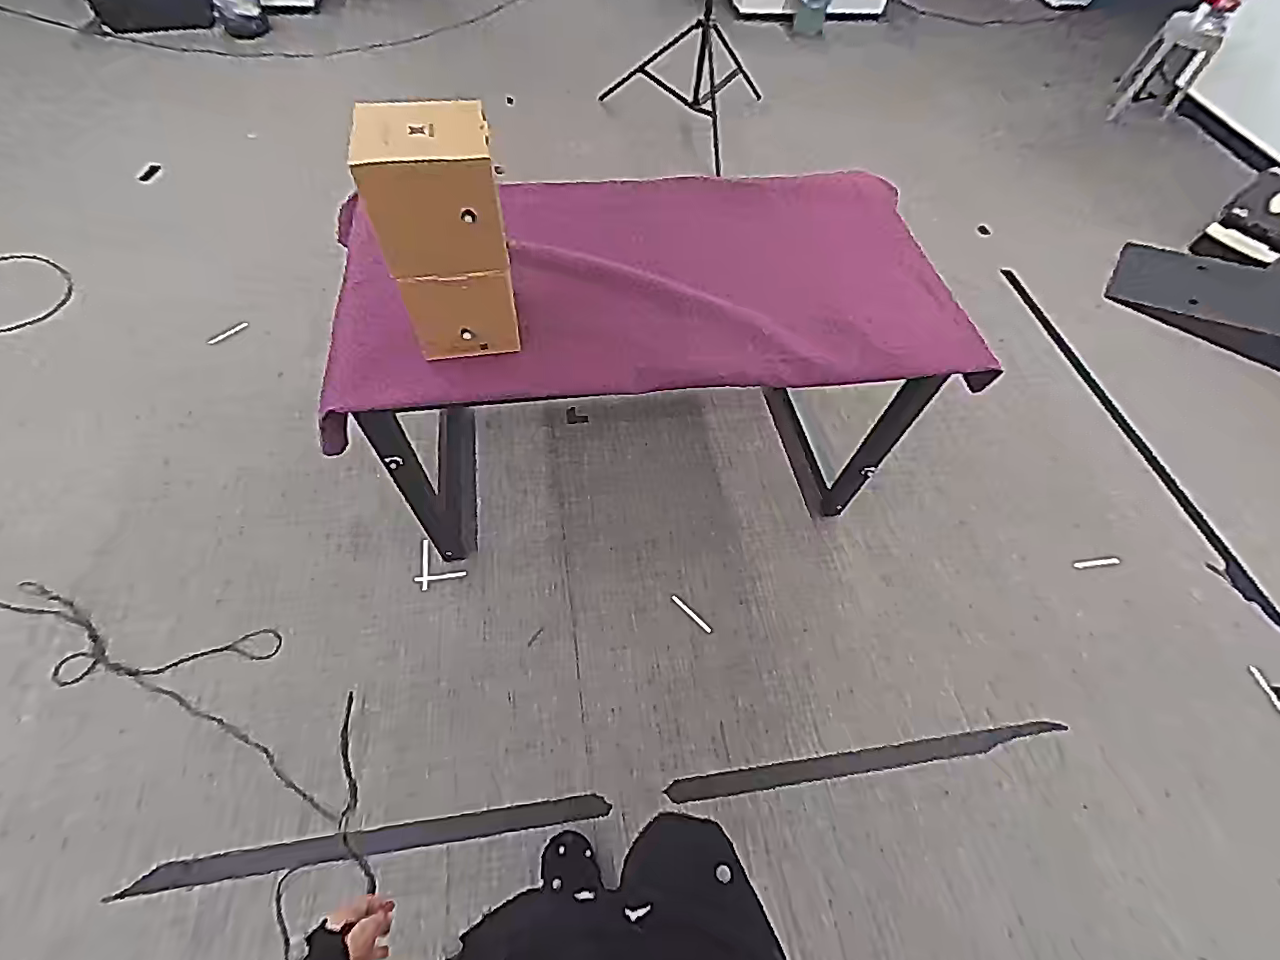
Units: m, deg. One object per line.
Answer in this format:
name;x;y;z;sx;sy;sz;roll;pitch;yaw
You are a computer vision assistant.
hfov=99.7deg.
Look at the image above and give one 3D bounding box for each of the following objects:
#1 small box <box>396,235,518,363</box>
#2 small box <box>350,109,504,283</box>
small box;-0.310;-0.328;0.936;0.168;0.176;0.179;-8;59;-9
small box;-0.301;-0.415;0.799;0.179;0.176;0.168;-10;58;-9
